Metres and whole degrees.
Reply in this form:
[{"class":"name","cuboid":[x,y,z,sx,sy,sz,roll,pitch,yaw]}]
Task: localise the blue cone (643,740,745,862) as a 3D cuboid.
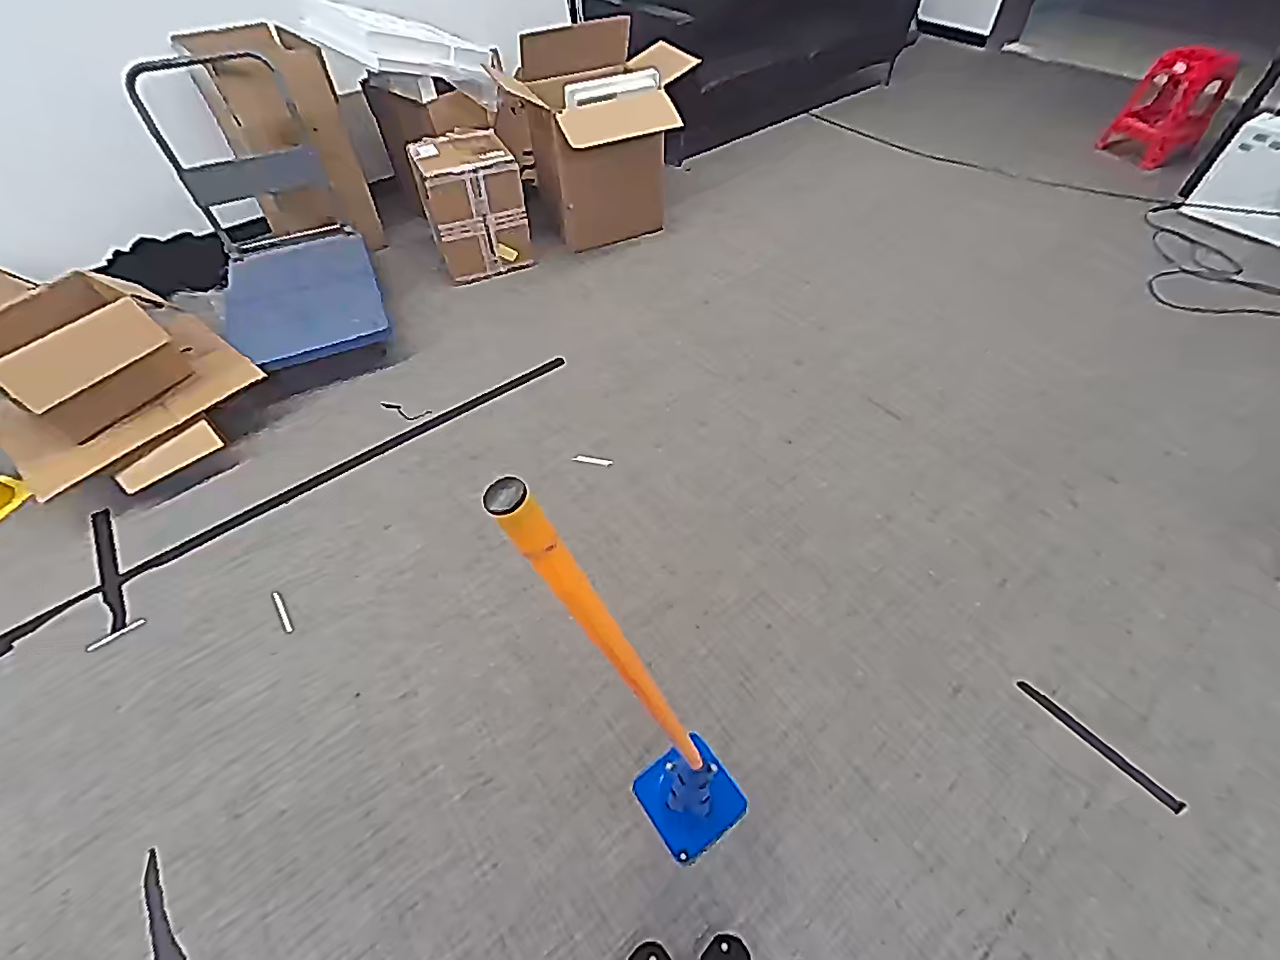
[{"class":"blue cone","cuboid":[0.115,0.614,1.091,0.193,0.380,0.192,-29,57,-19]}]
